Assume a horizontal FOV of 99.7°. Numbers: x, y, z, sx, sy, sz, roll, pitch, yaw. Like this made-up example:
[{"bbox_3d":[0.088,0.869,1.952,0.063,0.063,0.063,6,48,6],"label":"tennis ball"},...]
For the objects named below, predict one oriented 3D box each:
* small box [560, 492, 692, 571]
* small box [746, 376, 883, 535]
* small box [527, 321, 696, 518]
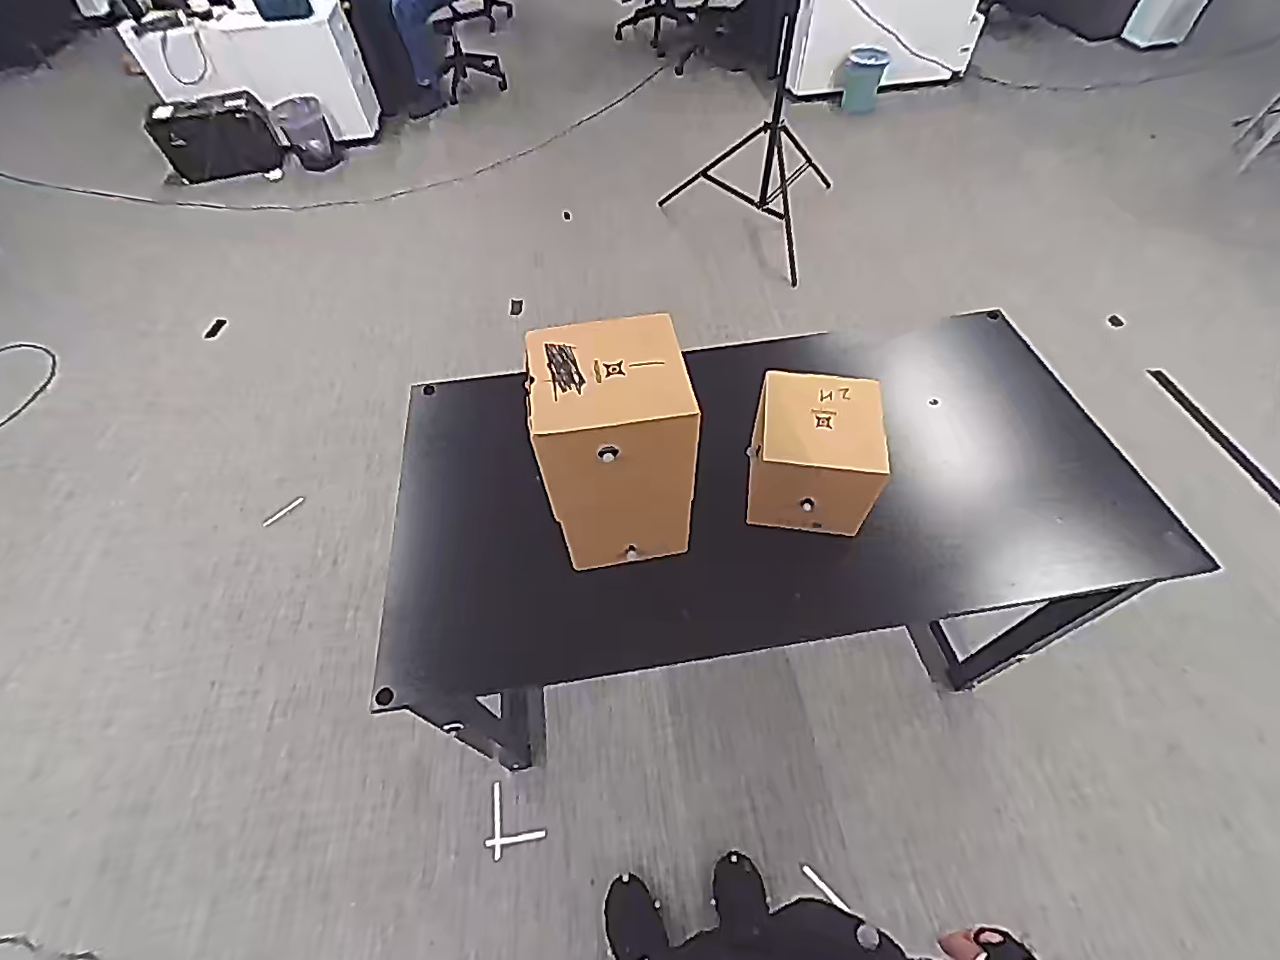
[{"bbox_3d":[-0.030,0.018,0.811,0.179,0.176,0.168,-9,55,-5],"label":"small box"},{"bbox_3d":[0.259,-0.033,0.833,0.168,0.176,0.179,7,55,7],"label":"small box"},{"bbox_3d":[-0.034,-0.068,0.669,0.179,0.176,0.168,-9,55,-4],"label":"small box"}]
